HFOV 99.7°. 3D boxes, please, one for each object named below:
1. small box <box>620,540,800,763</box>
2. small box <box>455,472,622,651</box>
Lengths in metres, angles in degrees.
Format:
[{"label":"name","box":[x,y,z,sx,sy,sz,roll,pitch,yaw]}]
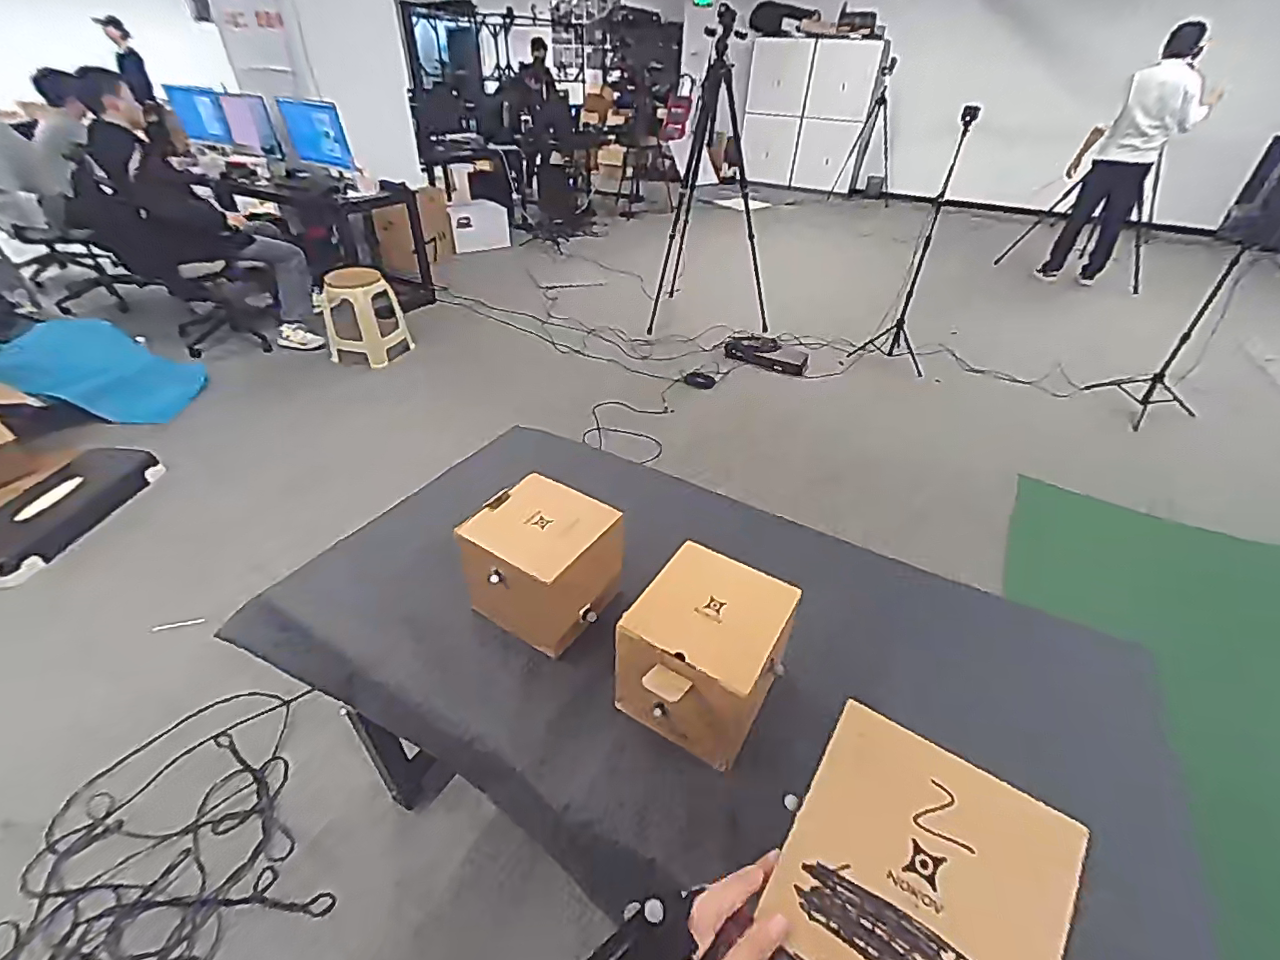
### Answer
[{"label":"small box","box":[0.083,0.215,0.696,0.168,0.176,0.179,23,42,24]},{"label":"small box","box":[-0.144,0.120,0.806,0.179,0.176,0.168,24,42,24]}]
